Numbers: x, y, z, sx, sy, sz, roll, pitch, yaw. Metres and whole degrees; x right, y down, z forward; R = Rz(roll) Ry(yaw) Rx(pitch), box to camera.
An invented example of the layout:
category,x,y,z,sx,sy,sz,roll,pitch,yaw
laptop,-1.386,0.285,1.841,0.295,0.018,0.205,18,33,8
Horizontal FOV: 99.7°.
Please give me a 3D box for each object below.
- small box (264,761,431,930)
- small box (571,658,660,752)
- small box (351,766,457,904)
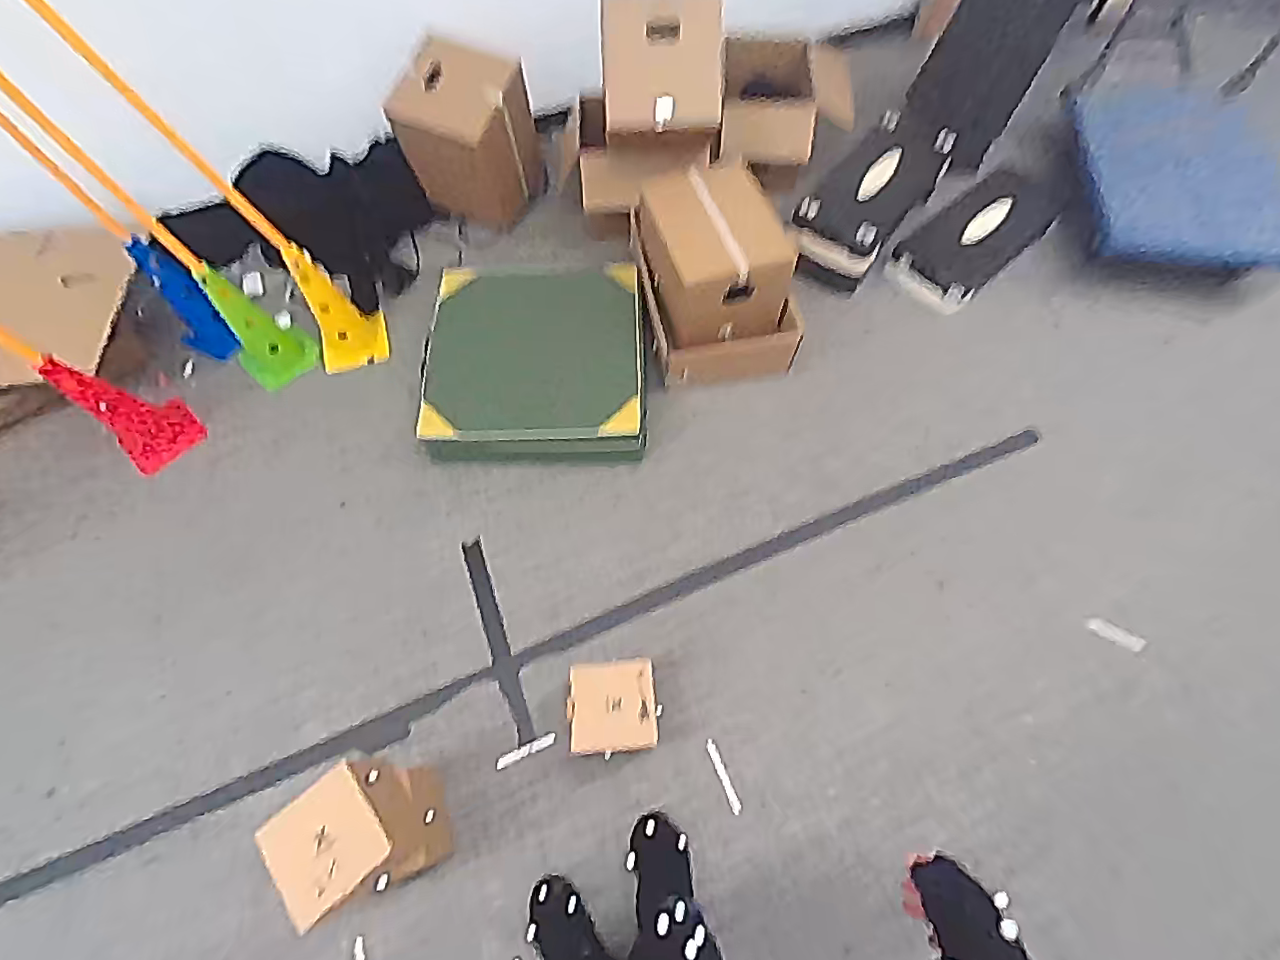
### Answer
category,x,y,z,sx,sy,sz,roll,pitch,yaw
small box,-0.504,0.624,0.951,0.168,0.176,0.179,-35,70,-13
small box,-0.051,0.498,1.187,0.179,0.176,0.168,-6,63,-3
small box,-0.491,0.704,1.096,0.168,0.176,0.179,-23,65,-9
